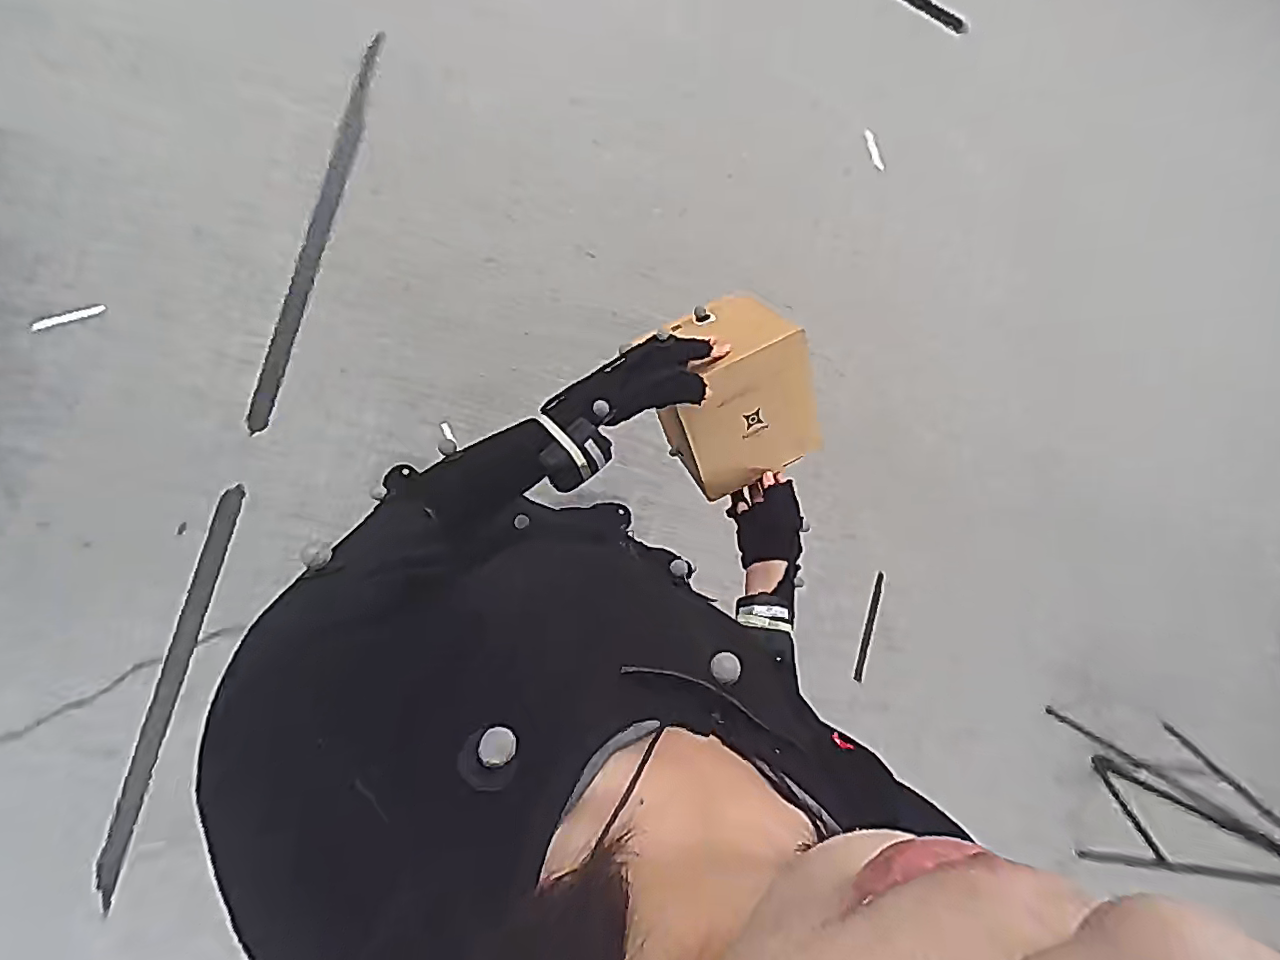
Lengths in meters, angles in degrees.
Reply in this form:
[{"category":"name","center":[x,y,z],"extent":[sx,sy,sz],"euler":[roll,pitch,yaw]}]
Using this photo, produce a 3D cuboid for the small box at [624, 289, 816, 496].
[{"category":"small box","center":[0.099,-0.117,0.696],"extent":[0.168,0.176,0.179],"euler":[-28,126,-2]}]
